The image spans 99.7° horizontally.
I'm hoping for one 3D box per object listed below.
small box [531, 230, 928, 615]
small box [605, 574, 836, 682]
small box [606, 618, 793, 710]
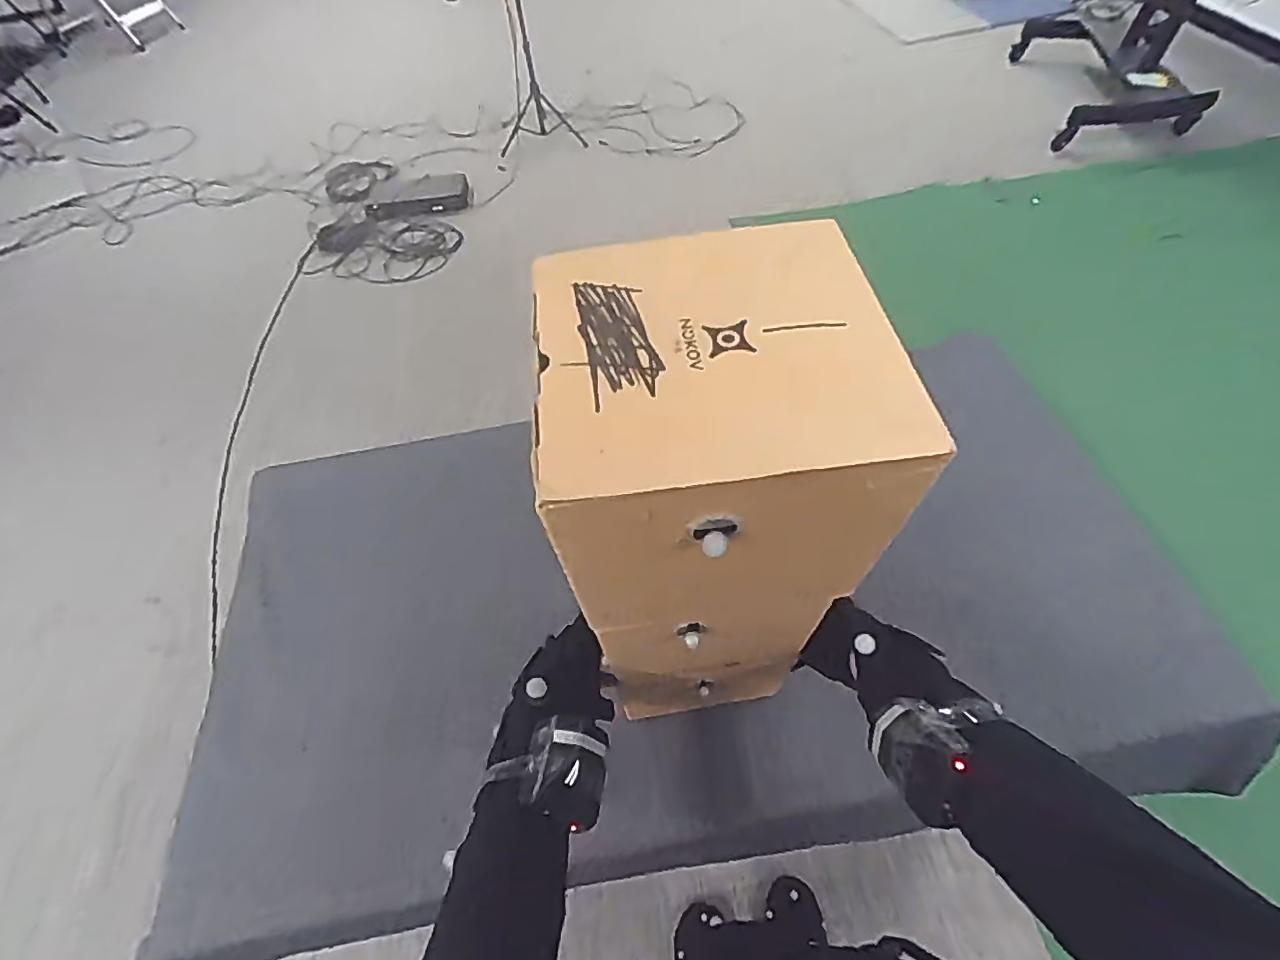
[{"bbox_3d":[0.037,-0.025,0.341,0.179,0.176,0.168,-7,57,-1],"label":"small box"},{"bbox_3d":[0.046,0.061,0.484,0.168,0.176,0.179,-10,58,-3],"label":"small box"},{"bbox_3d":[0.054,0.152,0.617,0.179,0.176,0.168,-9,57,-2],"label":"small box"}]
